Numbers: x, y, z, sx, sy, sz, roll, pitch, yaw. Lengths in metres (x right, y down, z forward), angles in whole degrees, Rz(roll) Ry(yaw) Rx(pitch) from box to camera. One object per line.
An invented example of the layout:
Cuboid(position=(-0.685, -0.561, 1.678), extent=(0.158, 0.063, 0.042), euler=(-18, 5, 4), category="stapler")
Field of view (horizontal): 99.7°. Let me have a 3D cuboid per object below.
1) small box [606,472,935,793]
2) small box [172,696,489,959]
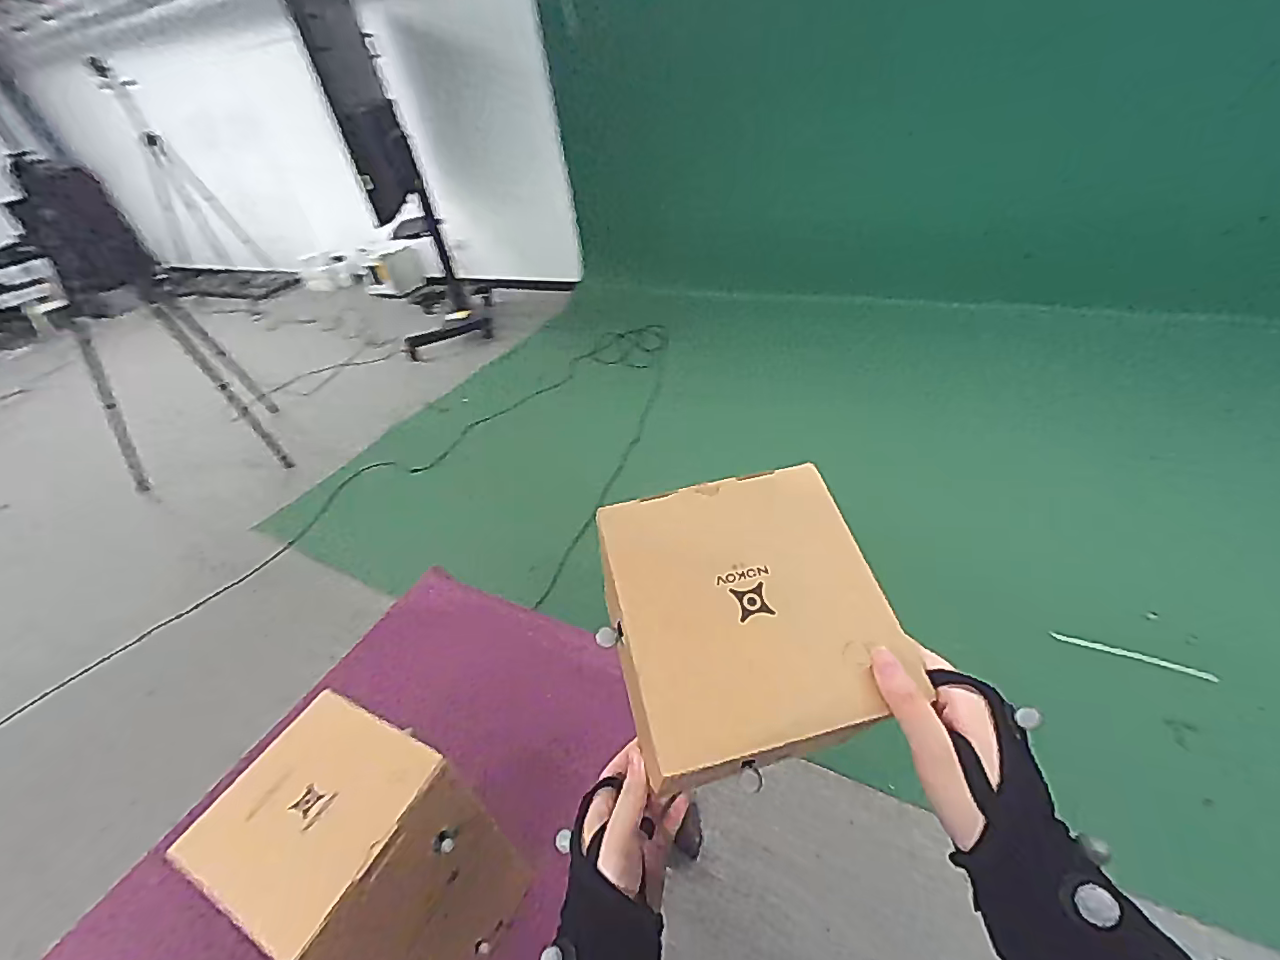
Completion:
Cuboid(position=(0.075, 0.123, 0.412), extent=(0.168, 0.176, 0.179), euler=(-12, 56, -7), category="small box")
Cuboid(position=(-0.278, 0.352, 0.527), extent=(0.179, 0.176, 0.168), euler=(12, 43, 25), category="small box")
